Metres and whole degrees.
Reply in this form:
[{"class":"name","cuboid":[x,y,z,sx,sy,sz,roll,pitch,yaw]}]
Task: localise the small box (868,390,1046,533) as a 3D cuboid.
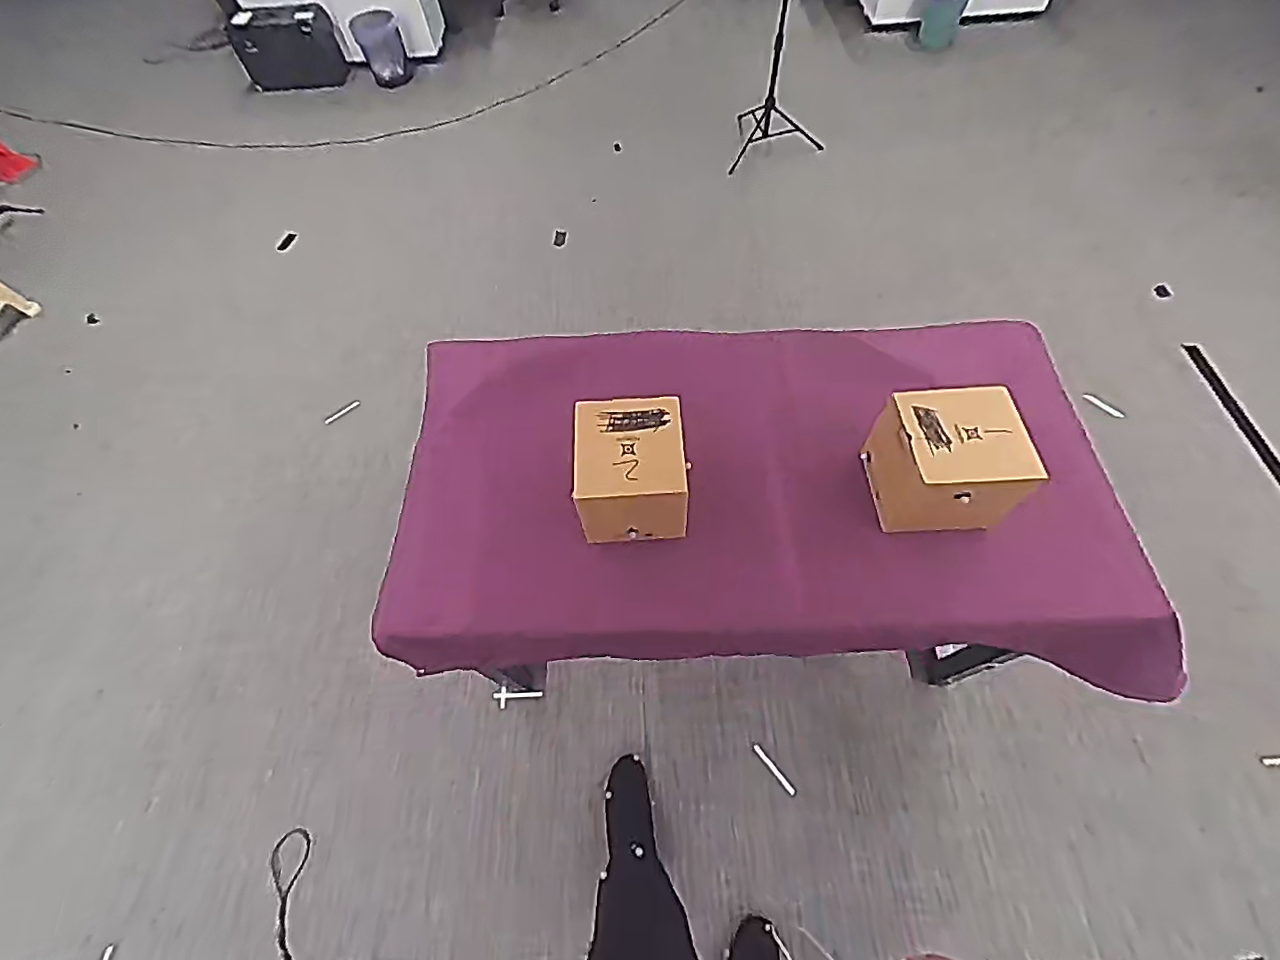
[{"class":"small box","cuboid":[0.481,-0.024,0.859,0.179,0.176,0.168,-3,60,2]}]
